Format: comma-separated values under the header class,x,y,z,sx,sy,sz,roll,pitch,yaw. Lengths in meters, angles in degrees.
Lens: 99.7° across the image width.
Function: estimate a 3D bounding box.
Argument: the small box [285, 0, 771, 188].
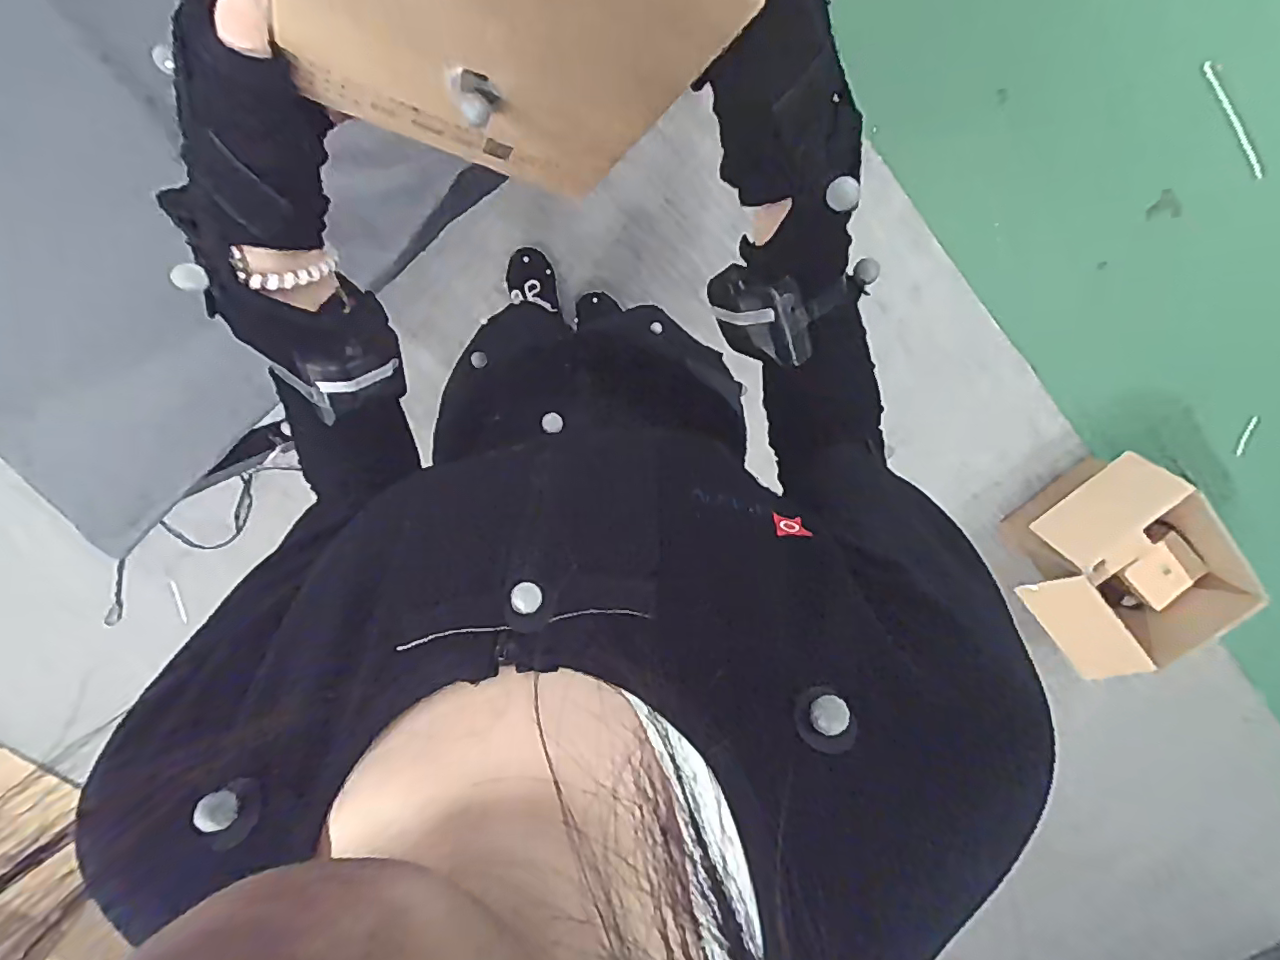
class,x,y,z,sx,sy,sz,roll,pitch,yaw
small box,-0.054,-0.276,0.239,0.168,0.176,0.179,5,84,-33
